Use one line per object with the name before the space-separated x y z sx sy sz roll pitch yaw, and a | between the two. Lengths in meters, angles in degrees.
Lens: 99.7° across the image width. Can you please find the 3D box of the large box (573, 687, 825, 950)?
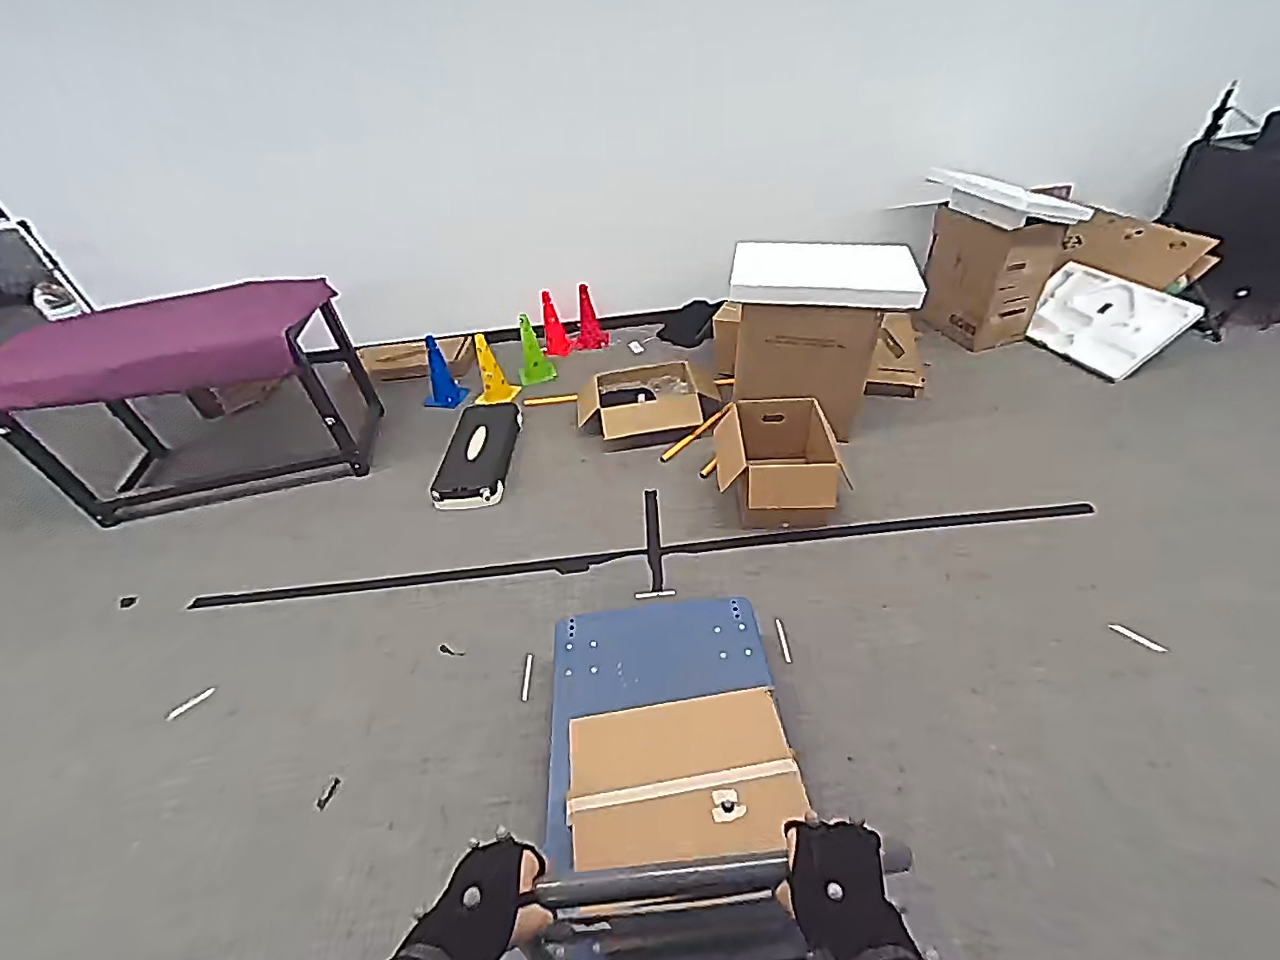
large box | 0.094 0.661 1.063 0.408 0.320 0.320 -8 41 -3
